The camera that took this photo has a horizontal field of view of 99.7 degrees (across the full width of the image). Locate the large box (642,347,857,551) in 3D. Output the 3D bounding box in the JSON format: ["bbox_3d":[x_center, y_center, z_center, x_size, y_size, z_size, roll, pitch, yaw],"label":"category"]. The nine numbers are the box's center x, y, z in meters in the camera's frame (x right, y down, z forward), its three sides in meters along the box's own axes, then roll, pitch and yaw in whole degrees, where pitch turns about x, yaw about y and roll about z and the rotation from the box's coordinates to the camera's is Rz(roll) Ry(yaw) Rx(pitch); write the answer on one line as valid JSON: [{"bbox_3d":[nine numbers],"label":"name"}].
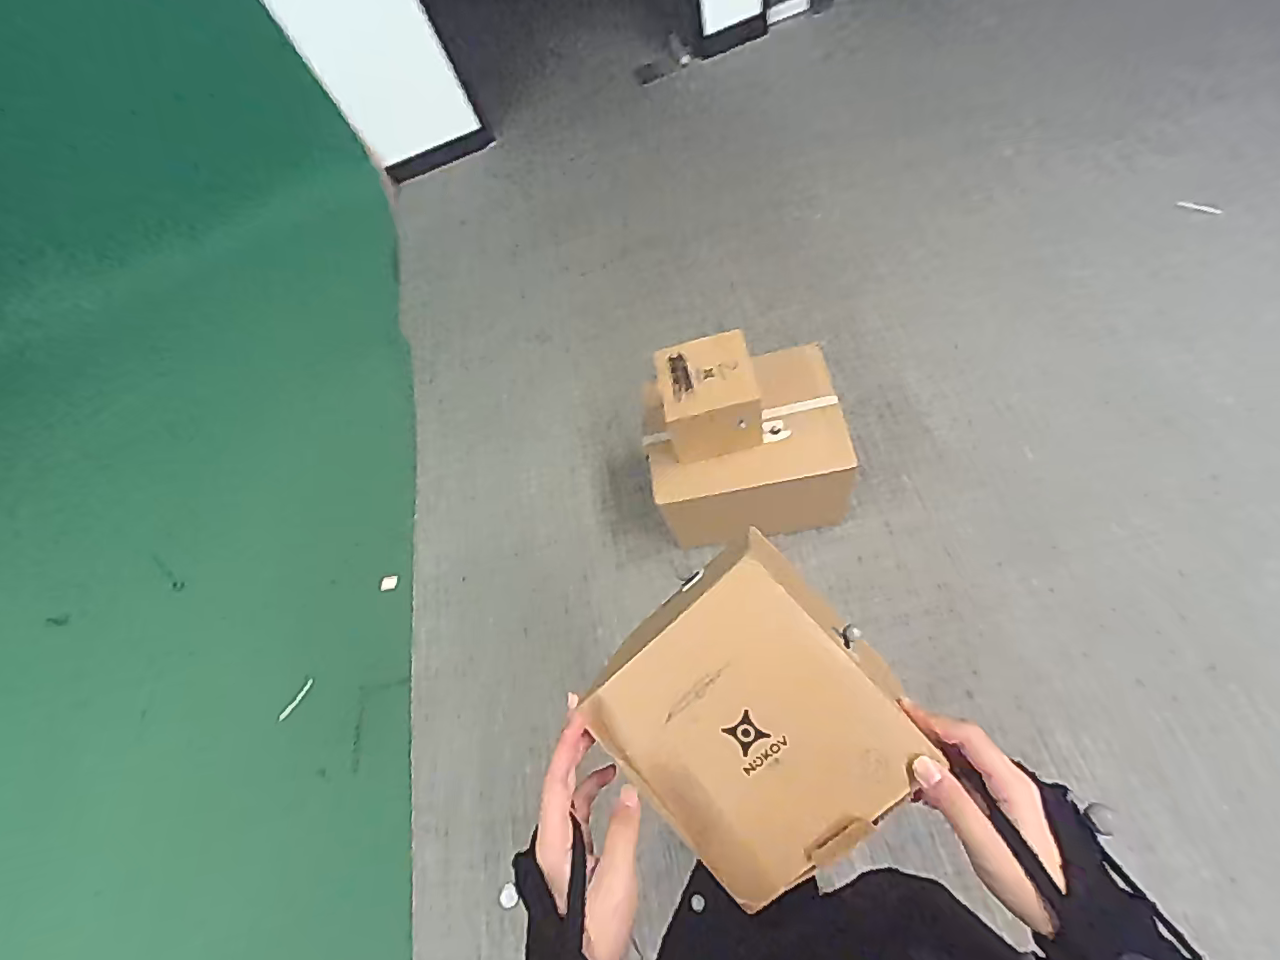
[{"bbox_3d":[0.243,-0.054,1.267,0.408,0.320,0.320,-11,63,8],"label":"large box"}]

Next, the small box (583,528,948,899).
[{"bbox_3d":[0.091,0.156,0.427,0.168,0.176,0.179,-44,83,10],"label":"small box"}]
